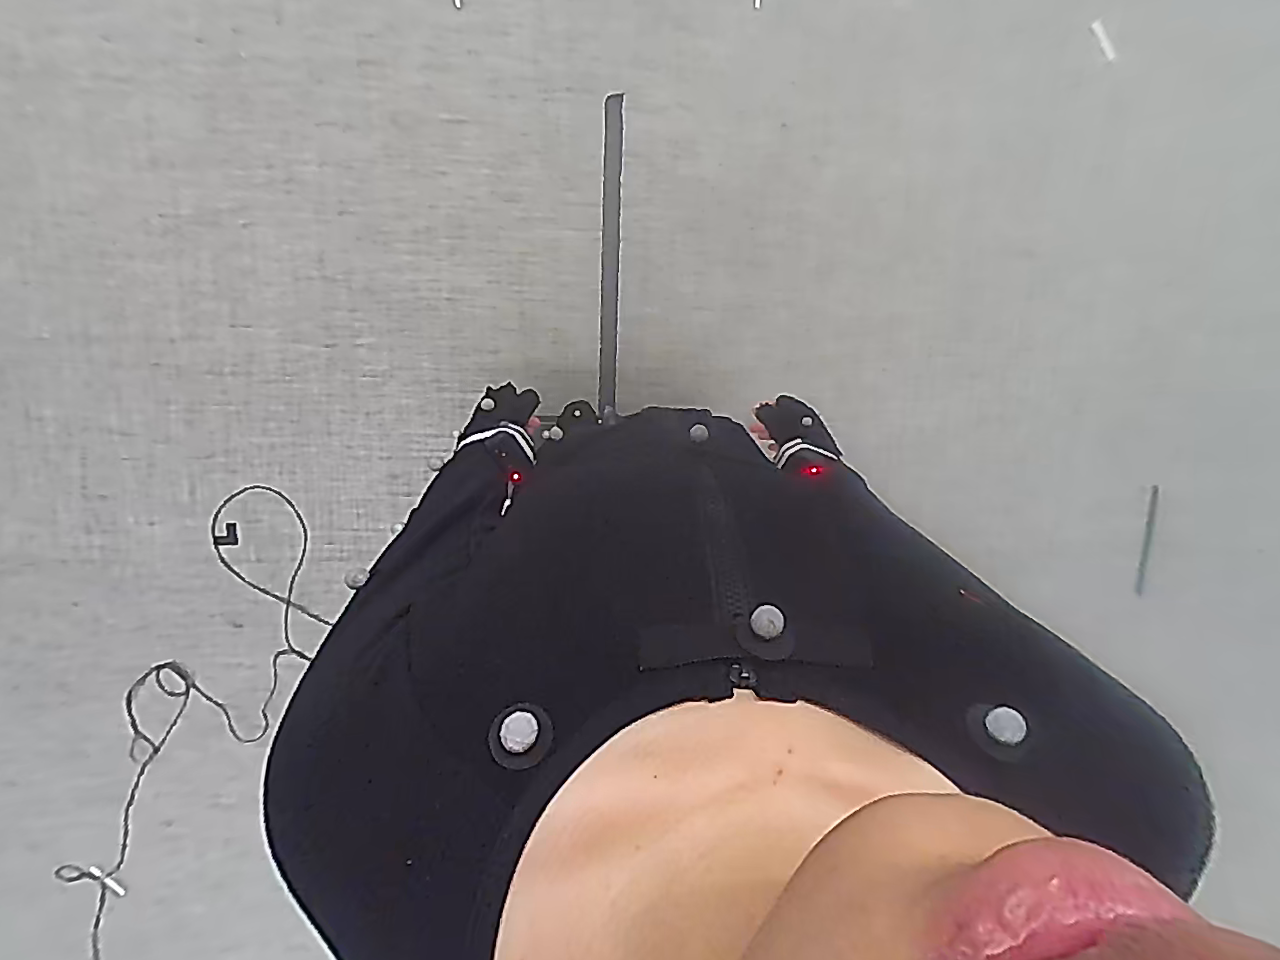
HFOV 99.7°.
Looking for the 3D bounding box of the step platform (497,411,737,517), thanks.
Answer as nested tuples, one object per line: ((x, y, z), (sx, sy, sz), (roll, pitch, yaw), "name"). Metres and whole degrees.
((-0.064, -0.052, 1.568), (0.684, 0.204, 0.286), (-1, 100, -5), "step platform")
